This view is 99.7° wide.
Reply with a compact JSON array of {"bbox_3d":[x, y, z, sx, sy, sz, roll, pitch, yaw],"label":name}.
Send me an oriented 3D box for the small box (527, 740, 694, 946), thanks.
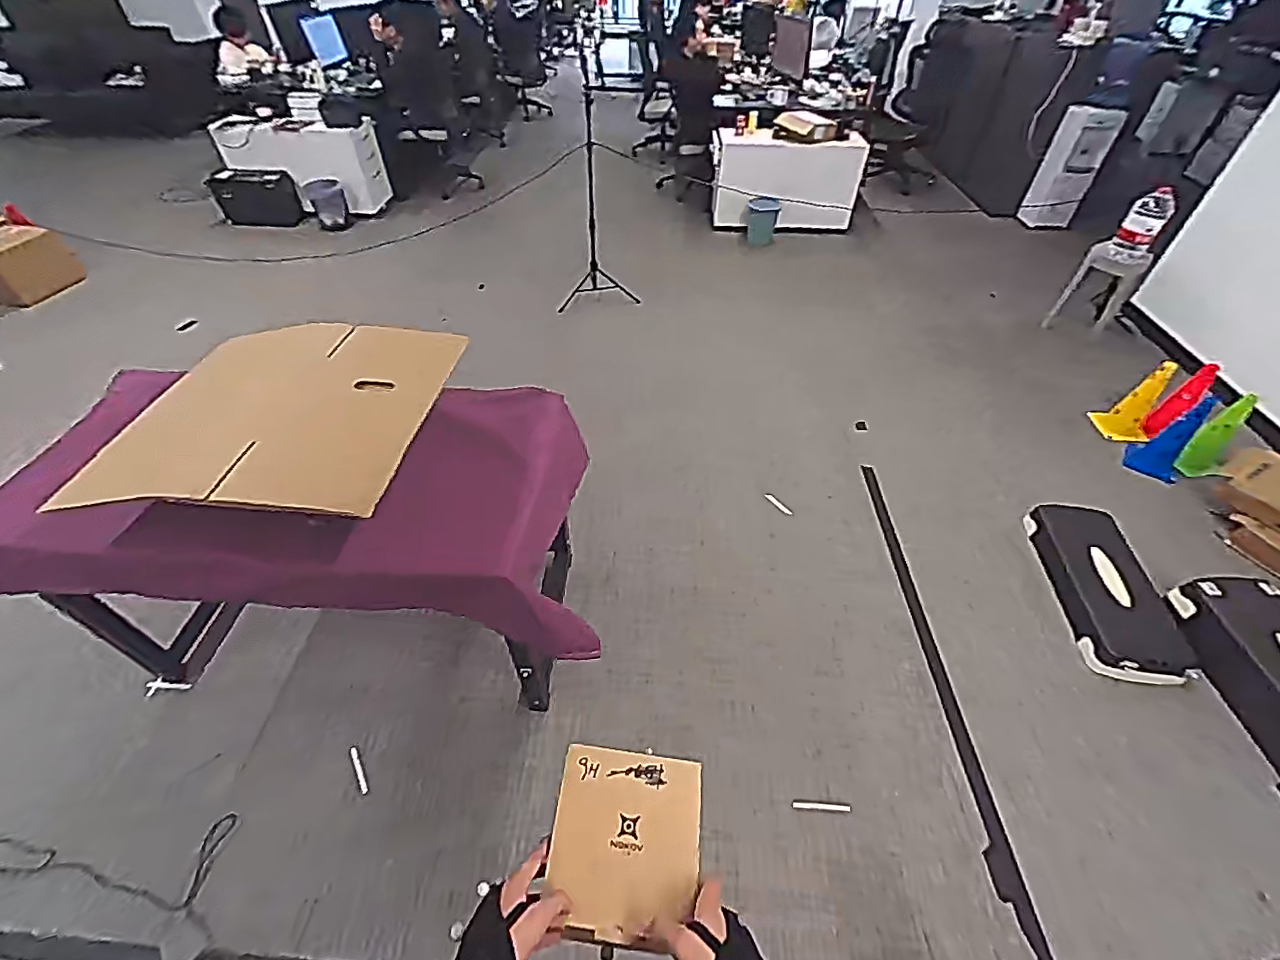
[{"bbox_3d":[-0.033,0.446,0.662,0.168,0.176,0.179,10,47,-1],"label":"small box"}]
